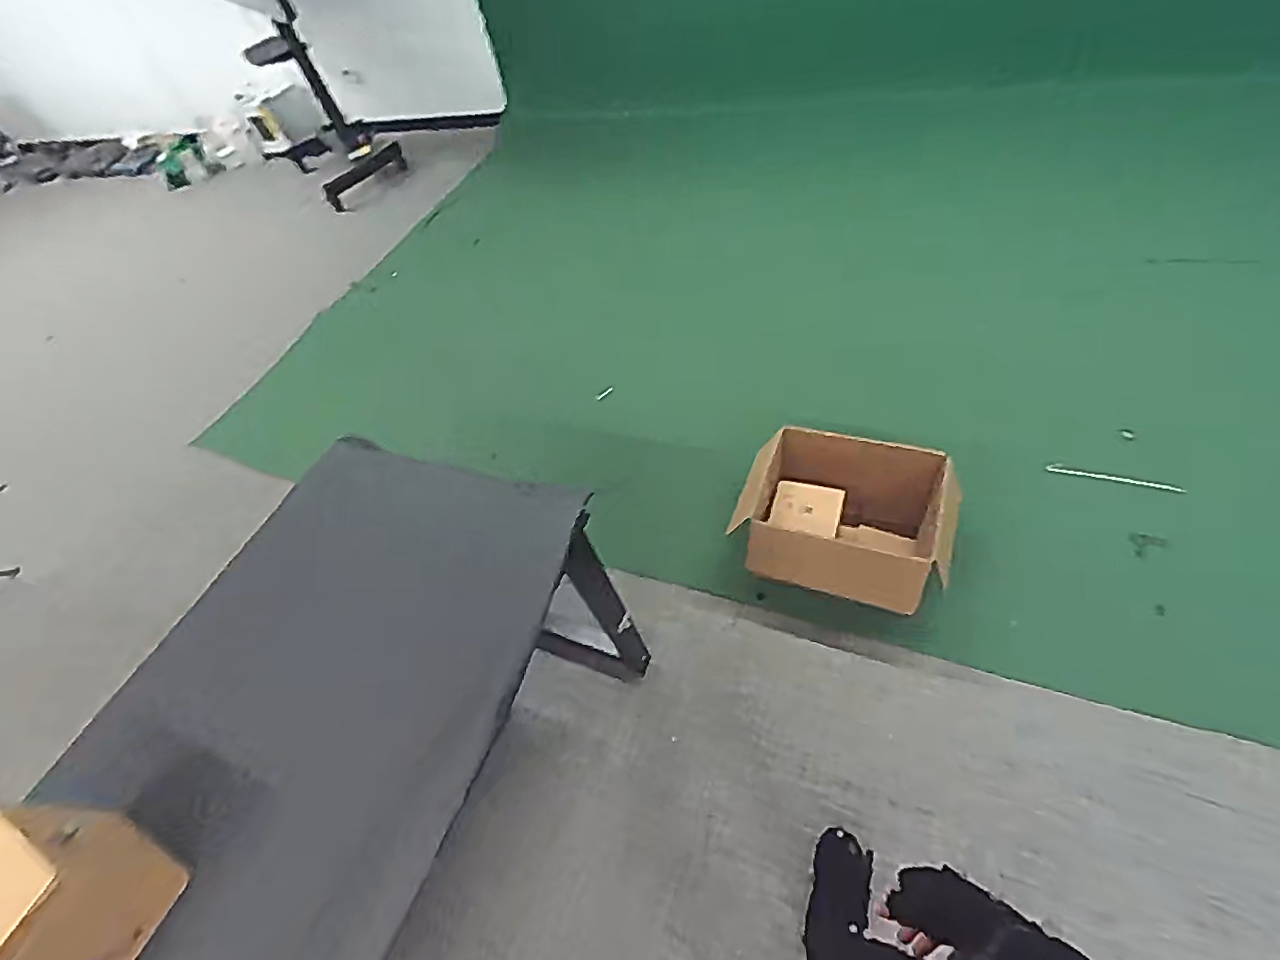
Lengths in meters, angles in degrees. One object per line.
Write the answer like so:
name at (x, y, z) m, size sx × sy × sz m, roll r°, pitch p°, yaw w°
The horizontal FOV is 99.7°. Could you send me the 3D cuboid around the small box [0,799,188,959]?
small box at (-0.688, 0.495, 0.613) m, size 0.179 × 0.176 × 0.168 m, roll 14°, pitch 59°, yaw 21°
